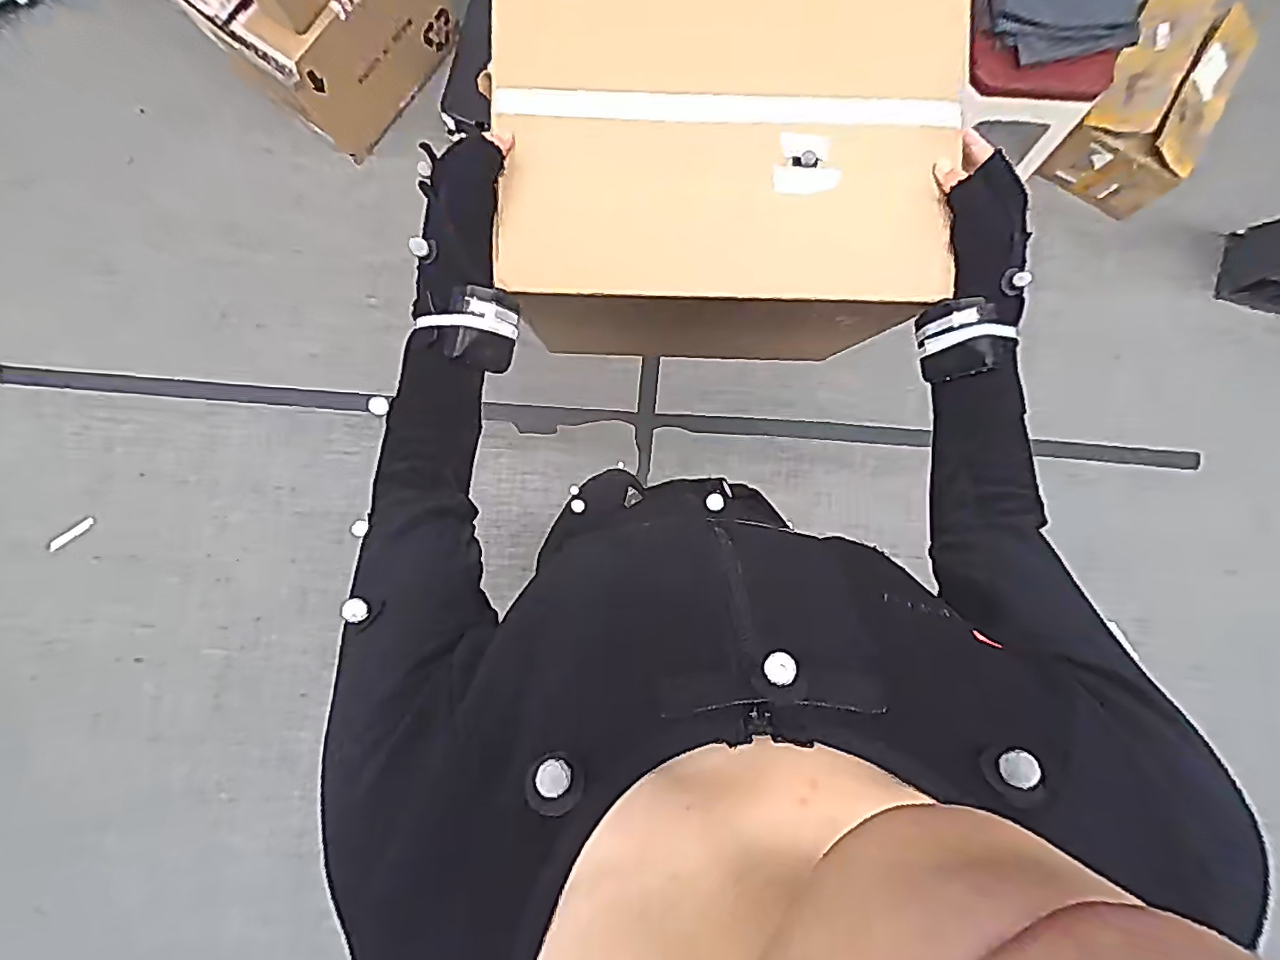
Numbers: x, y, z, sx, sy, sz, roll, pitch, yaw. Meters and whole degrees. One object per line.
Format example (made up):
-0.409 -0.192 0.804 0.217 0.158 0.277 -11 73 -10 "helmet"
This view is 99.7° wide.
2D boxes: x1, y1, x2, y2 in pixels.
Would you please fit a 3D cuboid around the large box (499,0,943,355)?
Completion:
0.067 -0.330 0.634 0.408 0.320 0.320 0 93 -2 "large box"
